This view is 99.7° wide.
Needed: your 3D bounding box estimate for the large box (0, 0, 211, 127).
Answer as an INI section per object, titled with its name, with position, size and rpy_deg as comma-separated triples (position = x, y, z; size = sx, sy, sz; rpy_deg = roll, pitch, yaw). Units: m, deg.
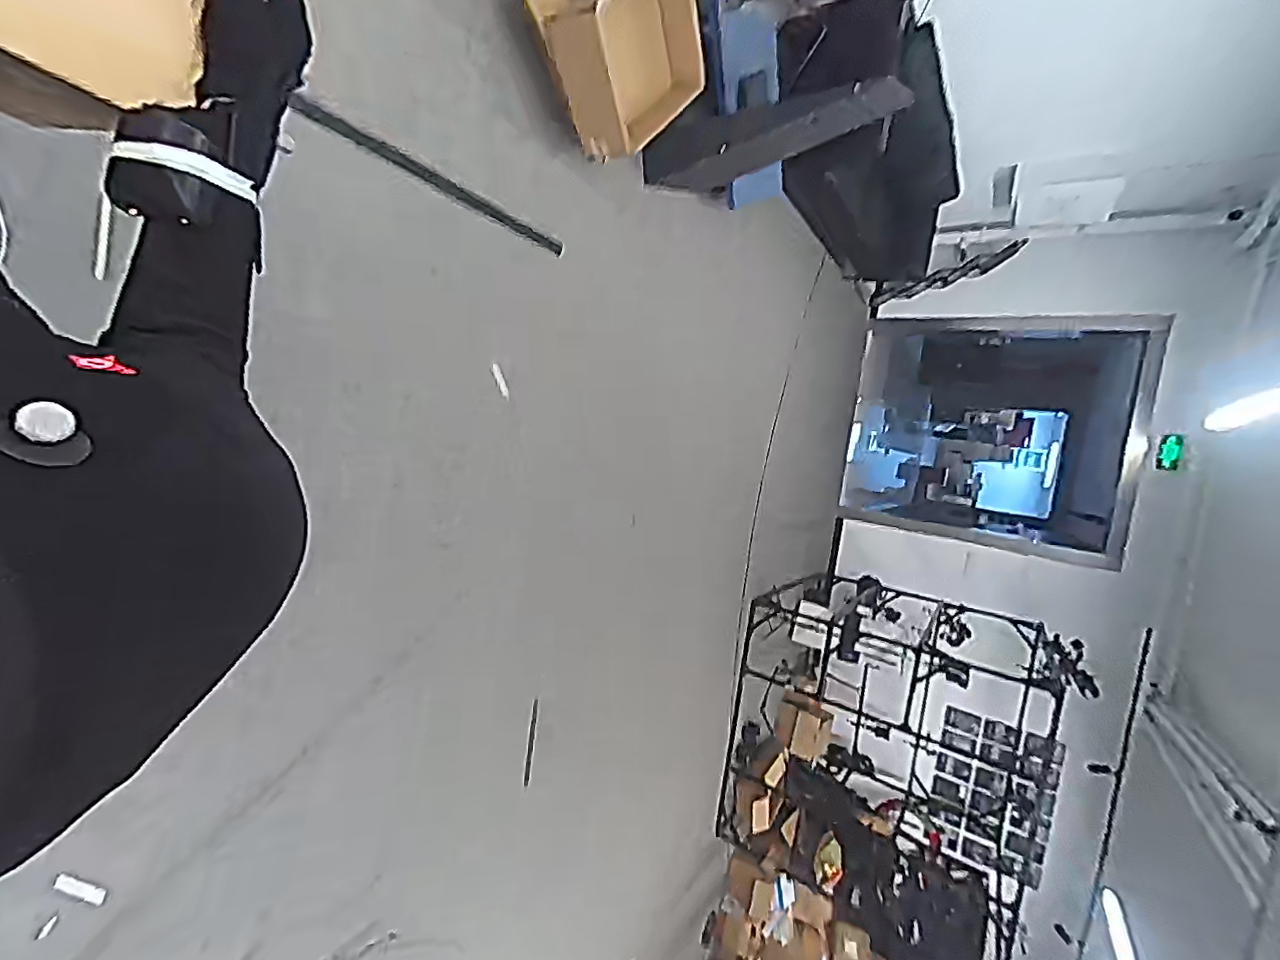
[large box]
position = -0.508, -0.453, 0.270
size = 0.408, 0.320, 0.320
rpy_deg = 4, 106, -63
